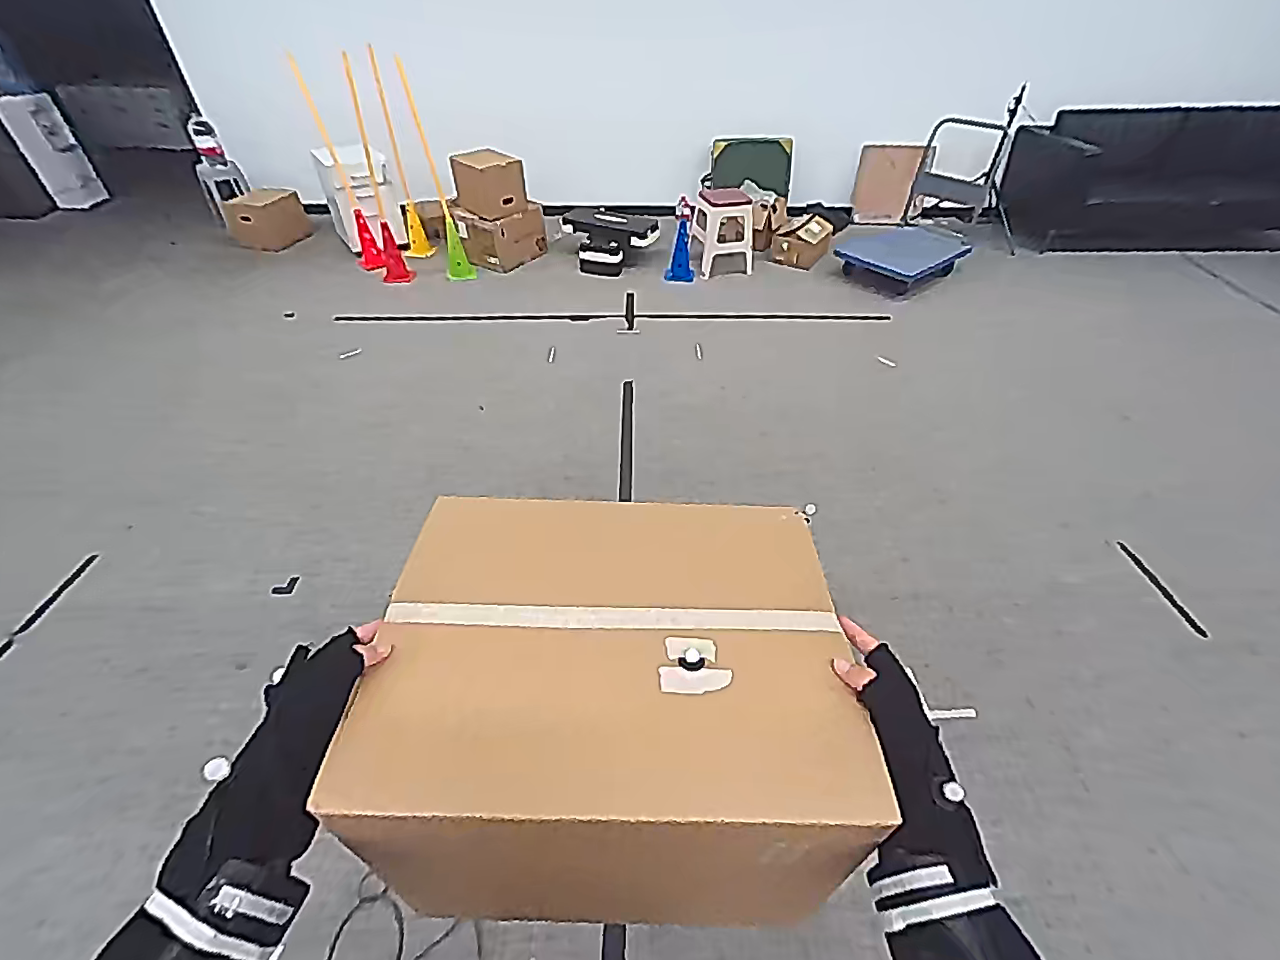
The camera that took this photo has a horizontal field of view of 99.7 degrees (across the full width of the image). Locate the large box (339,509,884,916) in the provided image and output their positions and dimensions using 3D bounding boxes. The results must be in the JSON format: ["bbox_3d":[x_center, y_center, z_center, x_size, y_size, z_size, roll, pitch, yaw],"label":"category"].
[{"bbox_3d":[-0.024,0.249,0.595,0.408,0.320,0.320,2,40,-1],"label":"large box"}]
